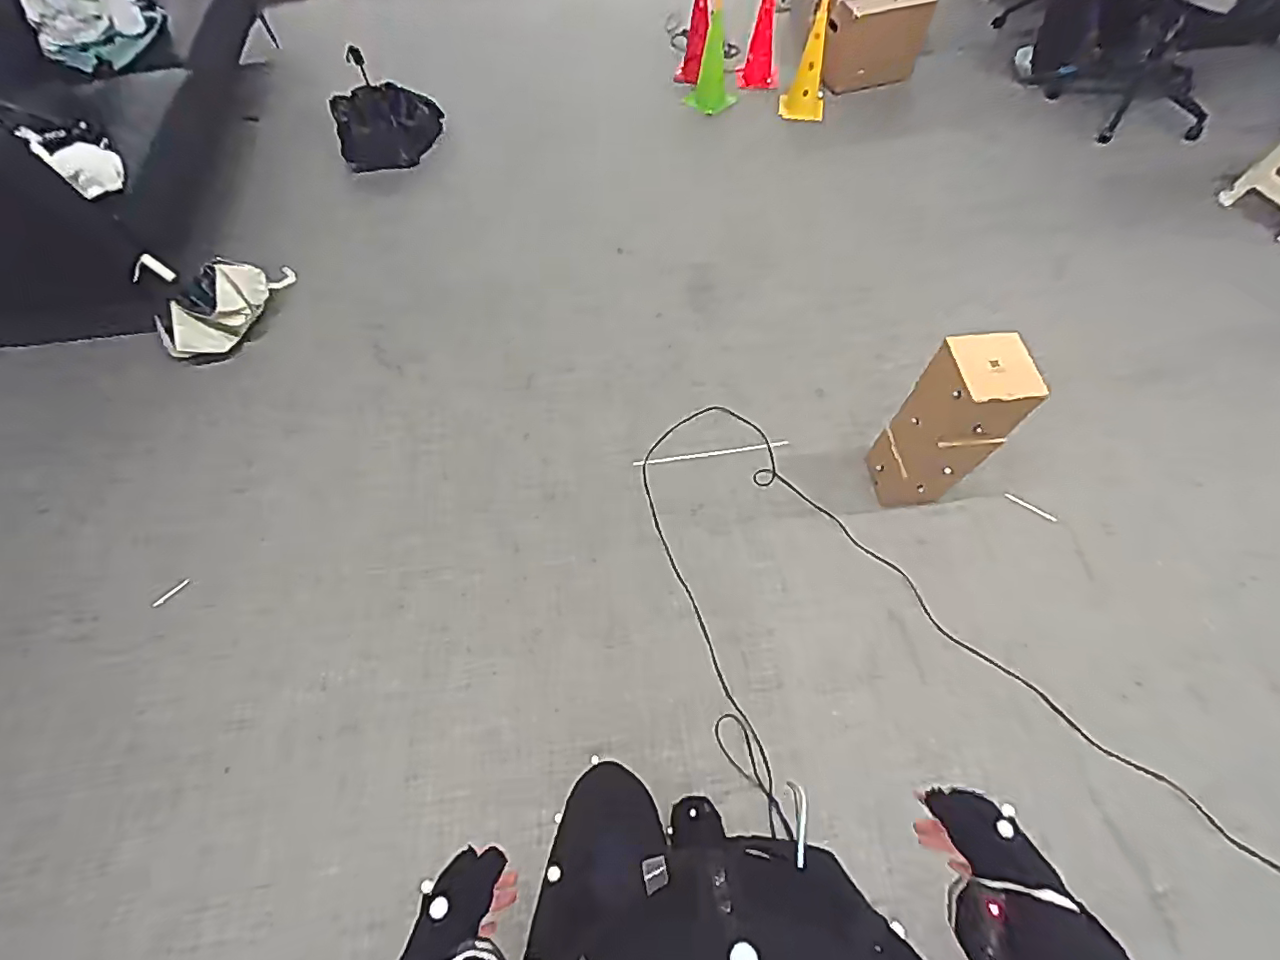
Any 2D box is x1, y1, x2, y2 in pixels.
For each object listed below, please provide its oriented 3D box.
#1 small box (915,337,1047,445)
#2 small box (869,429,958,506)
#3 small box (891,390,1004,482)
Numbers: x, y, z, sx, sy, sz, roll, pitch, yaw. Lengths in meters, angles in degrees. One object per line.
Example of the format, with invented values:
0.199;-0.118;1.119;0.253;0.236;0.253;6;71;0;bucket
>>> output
0.761;-0.199;1.232;0.168;0.176;0.179;-5;62;-1;small box
0.763;-0.035;1.516;0.179;0.176;0.168;-5;62;-1;small box
0.766;-0.114;1.371;0.168;0.176;0.179;-5;62;-1;small box
